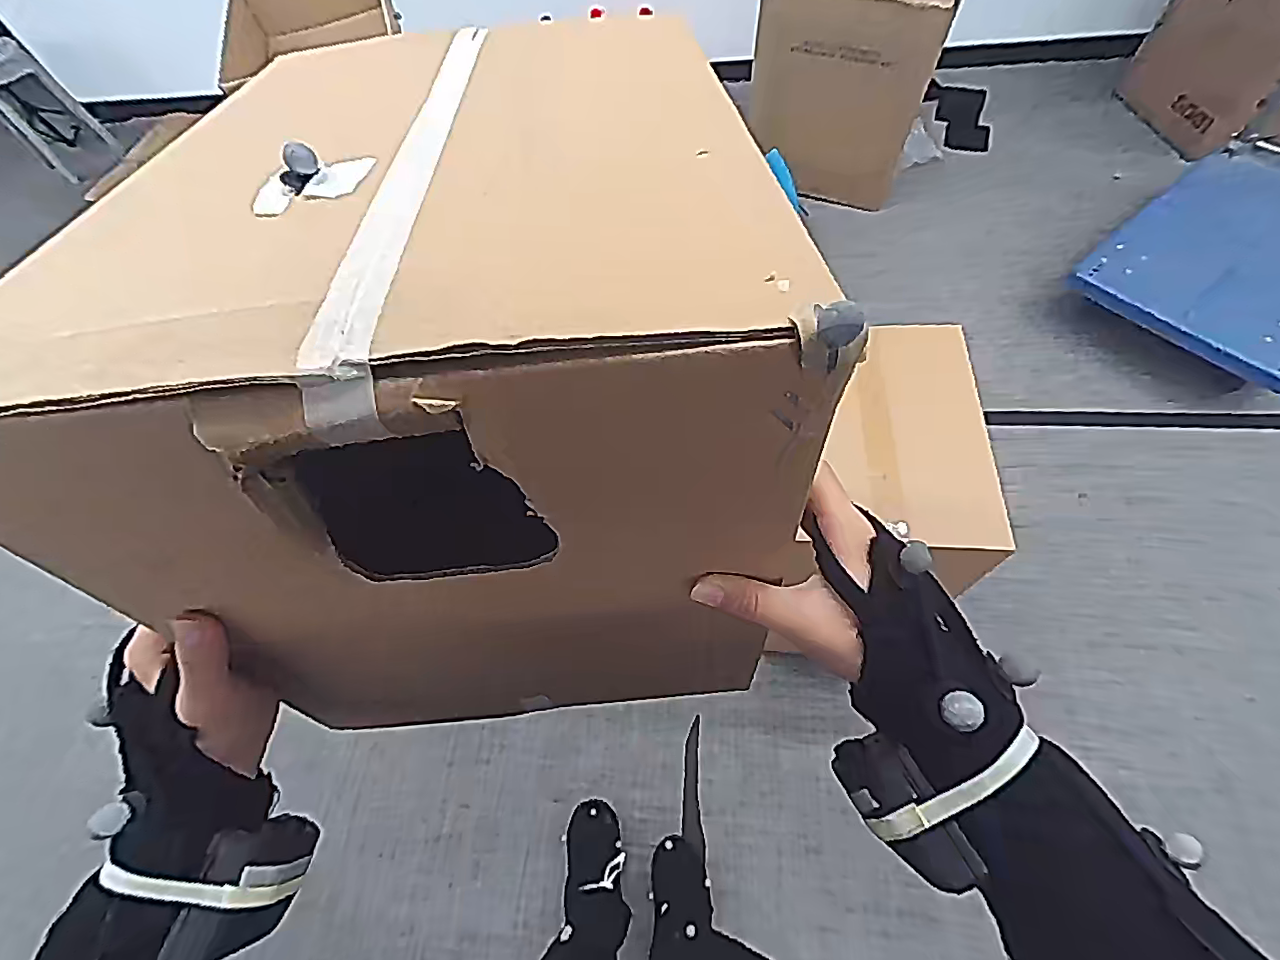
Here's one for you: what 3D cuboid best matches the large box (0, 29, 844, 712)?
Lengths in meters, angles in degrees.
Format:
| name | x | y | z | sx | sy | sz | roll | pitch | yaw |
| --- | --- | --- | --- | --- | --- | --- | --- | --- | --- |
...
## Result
| name | x | y | z | sx | sy | sz | roll | pitch | yaw |
| --- | --- | --- | --- | --- | --- | --- | --- | --- | --- |
| large box | -0.097 | -0.088 | 0.412 | 0.320 | 0.320 | 0.408 | -7 | 51 | 0 |
